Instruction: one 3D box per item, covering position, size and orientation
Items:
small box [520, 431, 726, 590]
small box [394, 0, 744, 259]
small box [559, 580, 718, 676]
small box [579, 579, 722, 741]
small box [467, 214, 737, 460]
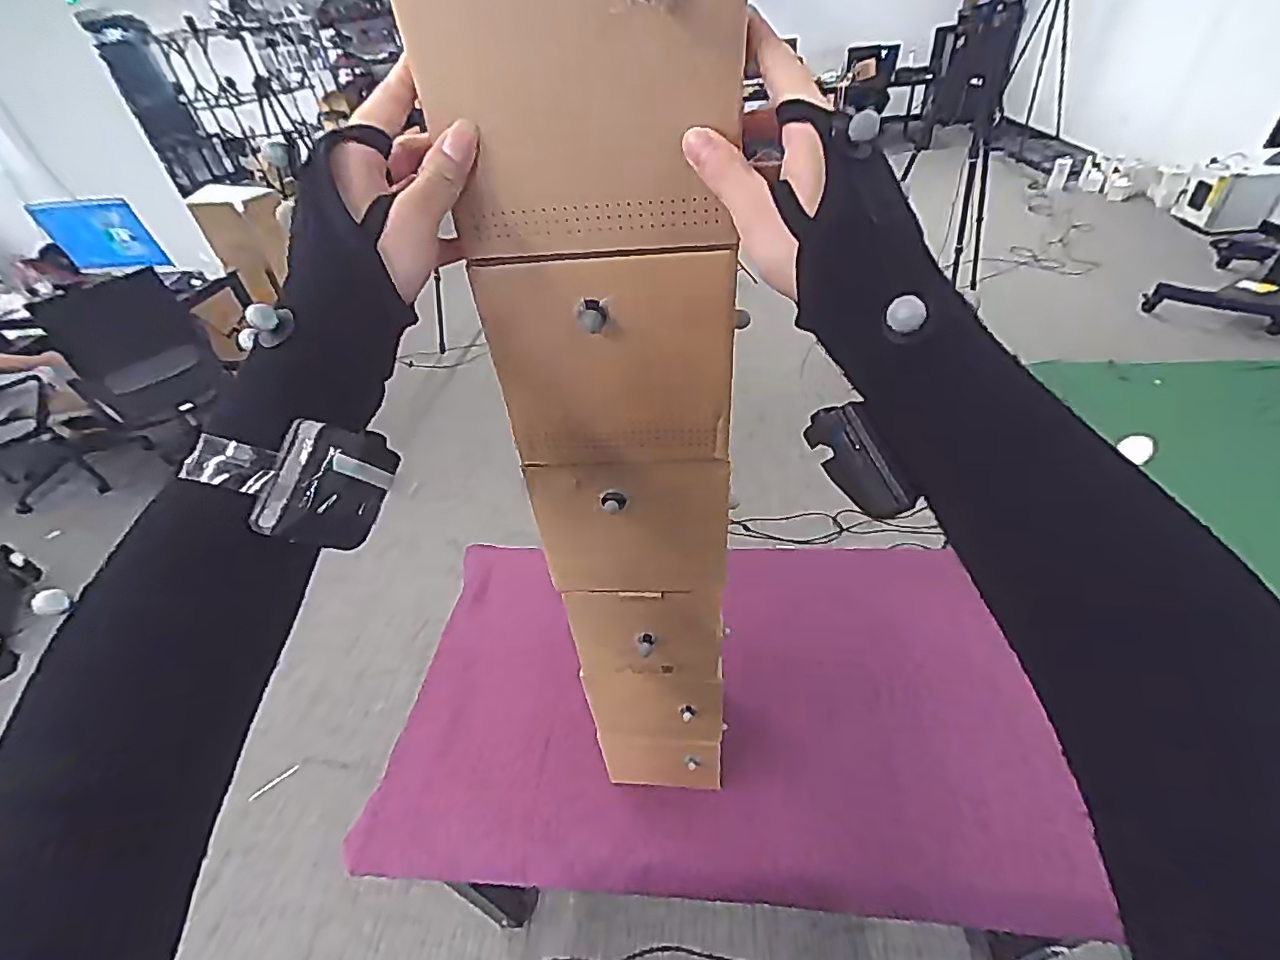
[{"bbox_3d":[-0.004,-0.002,0.553,0.179,0.176,0.168,-1,40,6],"label":"small box"},{"bbox_3d":[-0.026,-0.255,0.347,0.179,0.176,0.168,-1,40,7],"label":"small box"},{"bbox_3d":[0.010,0.121,0.662,0.168,0.176,0.179,-1,40,6],"label":"small box"},{"bbox_3d":[0.025,0.249,0.761,0.179,0.176,0.168,-1,40,8],"label":"small box"},{"bbox_3d":[-0.014,-0.128,0.452,0.179,0.176,0.168,-2,40,7],"label":"small box"}]
